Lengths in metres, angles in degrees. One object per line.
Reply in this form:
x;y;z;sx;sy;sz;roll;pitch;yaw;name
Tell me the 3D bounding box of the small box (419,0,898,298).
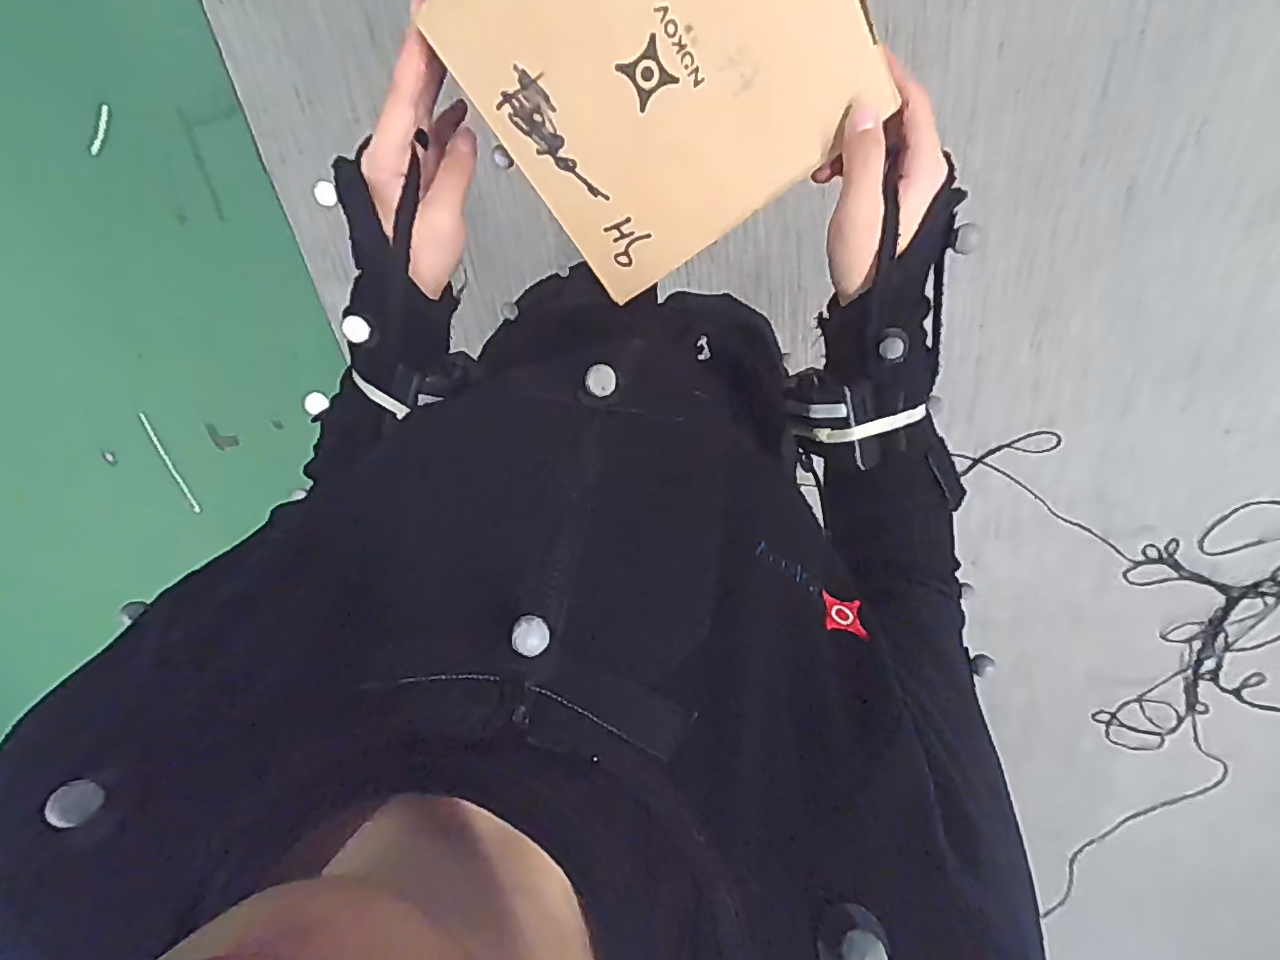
0.013;-0.246;0.320;0.179;0.176;0.168;-29;120;19;small box
